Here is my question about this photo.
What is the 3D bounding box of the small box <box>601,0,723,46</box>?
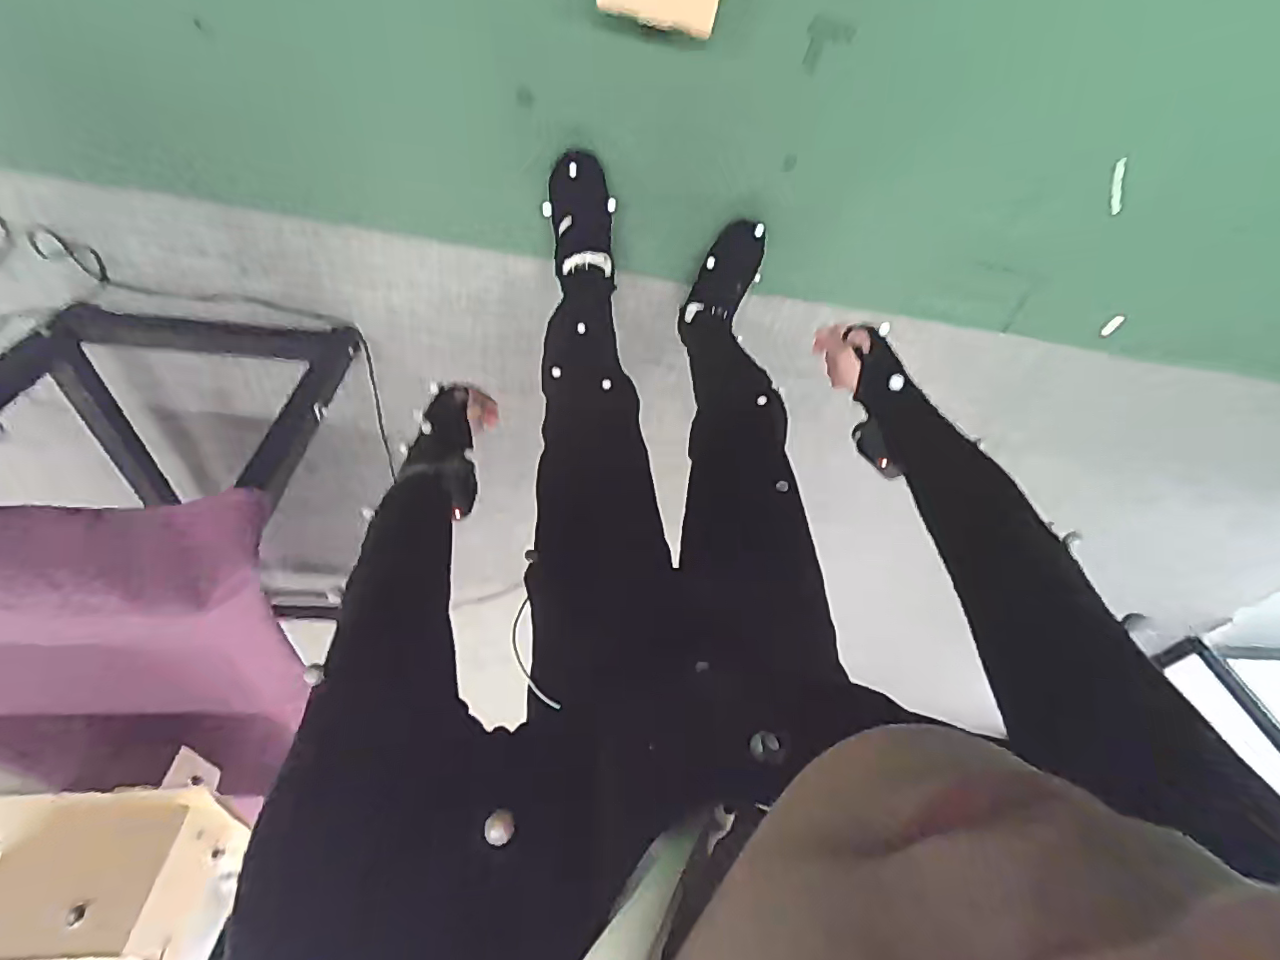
[{"bbox_3d":[0.036,-0.745,0.756,0.168,0.176,0.179,6,134,-11],"label":"small box"}]

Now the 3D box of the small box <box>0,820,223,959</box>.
[{"bbox_3d":[-0.732,0.596,0.760,0.179,0.176,0.168,3,132,-8],"label":"small box"}]
